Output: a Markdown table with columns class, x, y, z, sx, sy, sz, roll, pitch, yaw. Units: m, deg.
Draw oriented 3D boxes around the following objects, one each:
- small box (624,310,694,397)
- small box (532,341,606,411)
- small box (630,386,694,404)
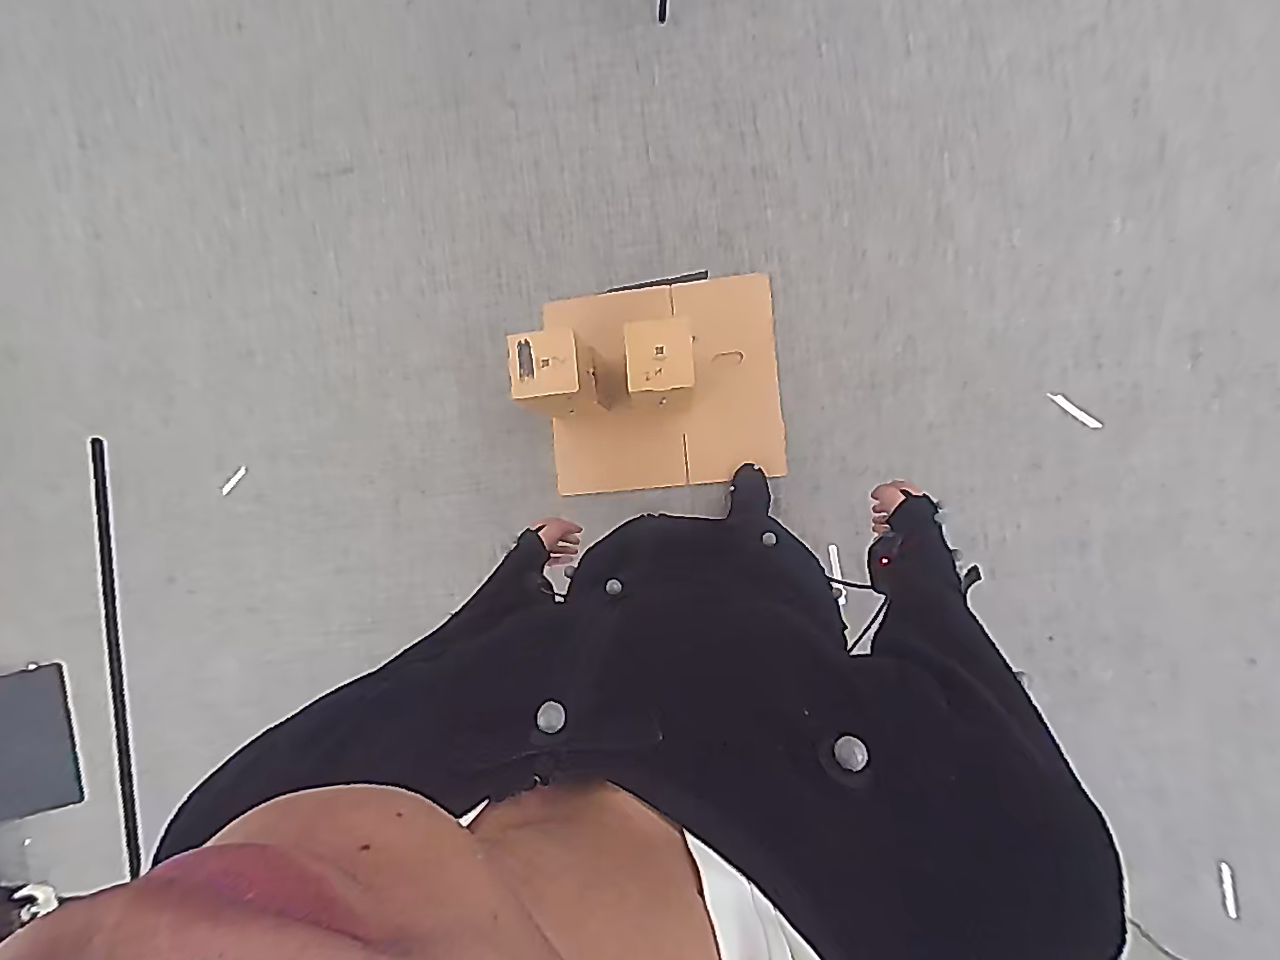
| class | x | y | z | sx | sy | sz | roll | pitch | yaw |
| --- | --- | --- | --- | --- | --- | --- | --- | --- | --- |
| small box | 0.053 | -0.318 | 1.389 | 0.168 | 0.176 | 0.179 | -3 | 90 | 7 |
| small box | -0.201 | -0.299 | 1.584 | 0.179 | 0.176 | 0.168 | -5 | 89 | 8 |
| small box | 0.063 | -0.314 | 1.553 | 0.179 | 0.176 | 0.168 | -4 | 90 | 7 |
